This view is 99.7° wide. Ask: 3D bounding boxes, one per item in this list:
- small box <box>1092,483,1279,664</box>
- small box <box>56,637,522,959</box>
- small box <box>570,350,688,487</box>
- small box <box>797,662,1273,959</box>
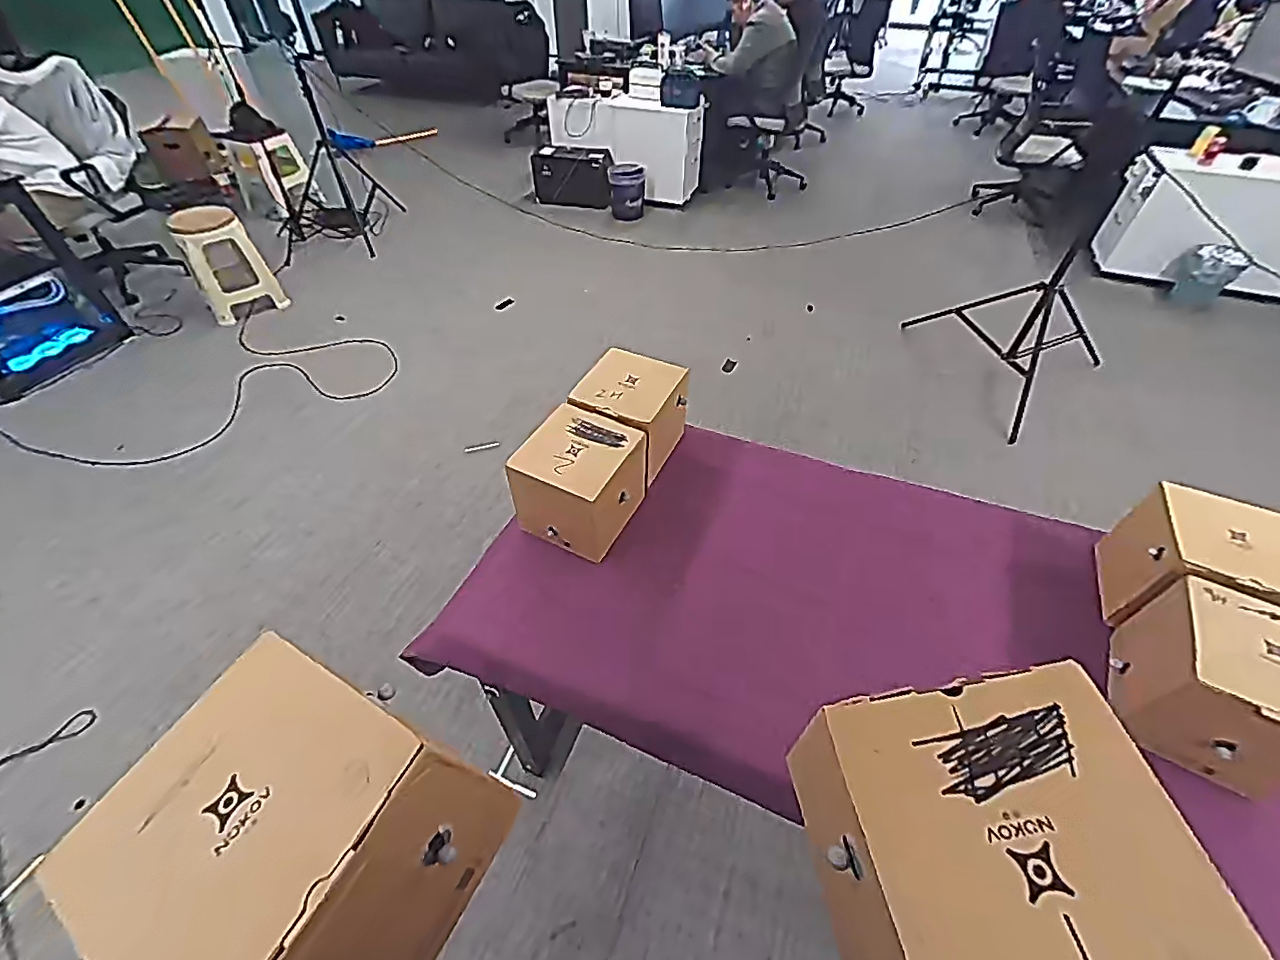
[{"bbox_3d":[0.830,0.140,0.819,0.168,0.176,0.179,20,49,17],"label":"small box"},{"bbox_3d":[-0.213,0.244,0.375,0.179,0.176,0.168,16,55,27],"label":"small box"},{"bbox_3d":[-0.020,-0.119,1.051,0.168,0.176,0.179,20,50,17],"label":"small box"},{"bbox_3d":[0.214,0.243,0.350,0.168,0.176,0.179,-10,53,-1],"label":"small box"}]
